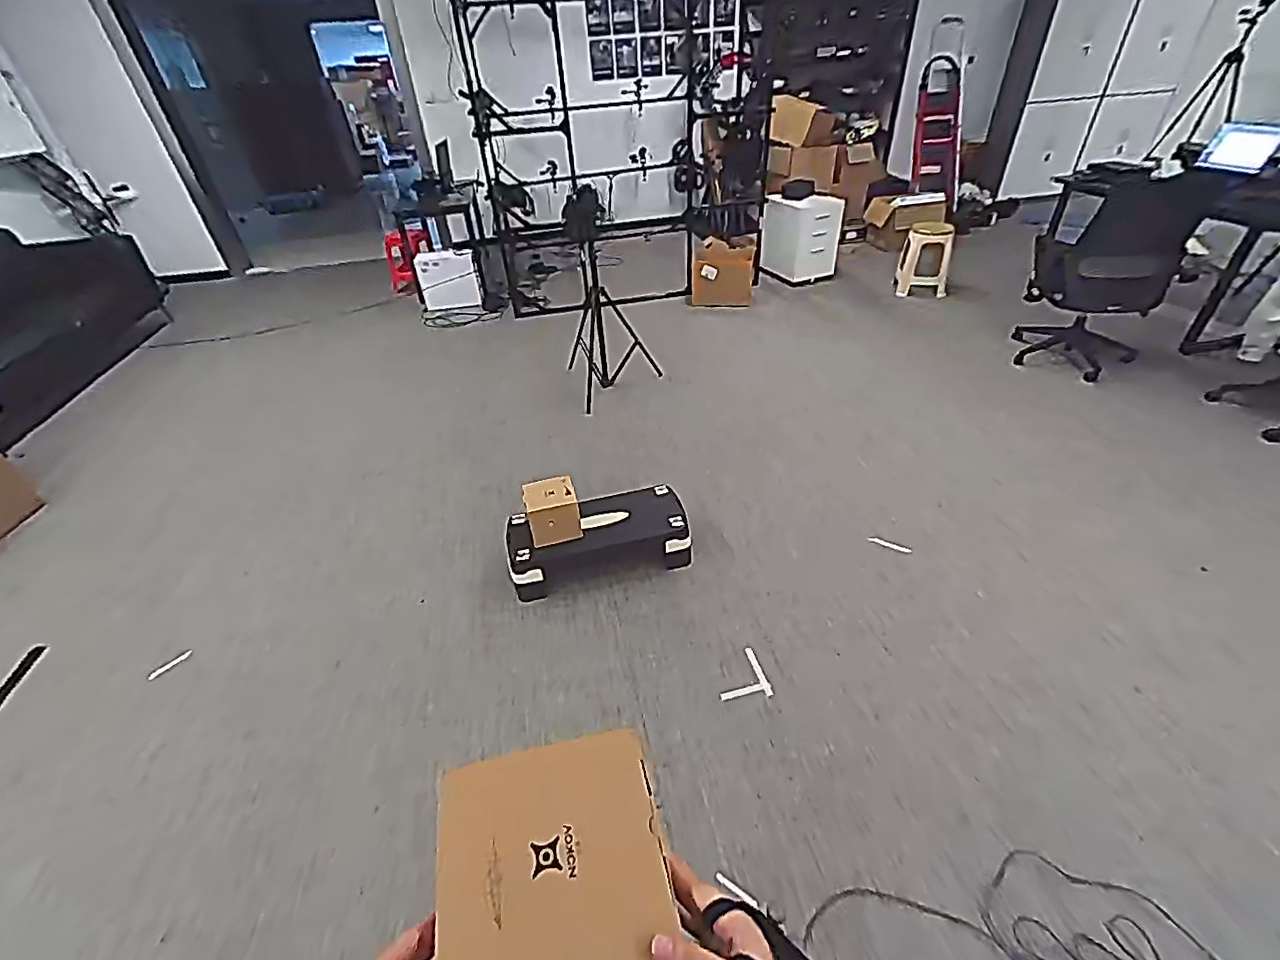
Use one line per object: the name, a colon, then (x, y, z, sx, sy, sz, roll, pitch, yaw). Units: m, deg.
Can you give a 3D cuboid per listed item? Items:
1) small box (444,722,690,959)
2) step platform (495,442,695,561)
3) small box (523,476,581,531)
small box: (-0.066, 0.349, 0.484, 0.179, 0.176, 0.168, -11, 44, -10)
step platform: (-0.154, 0.073, 1.926, 0.684, 0.204, 0.286, -11, 37, -9)
small box: (-0.314, 0.113, 1.950, 0.179, 0.176, 0.168, -13, 39, -11)
